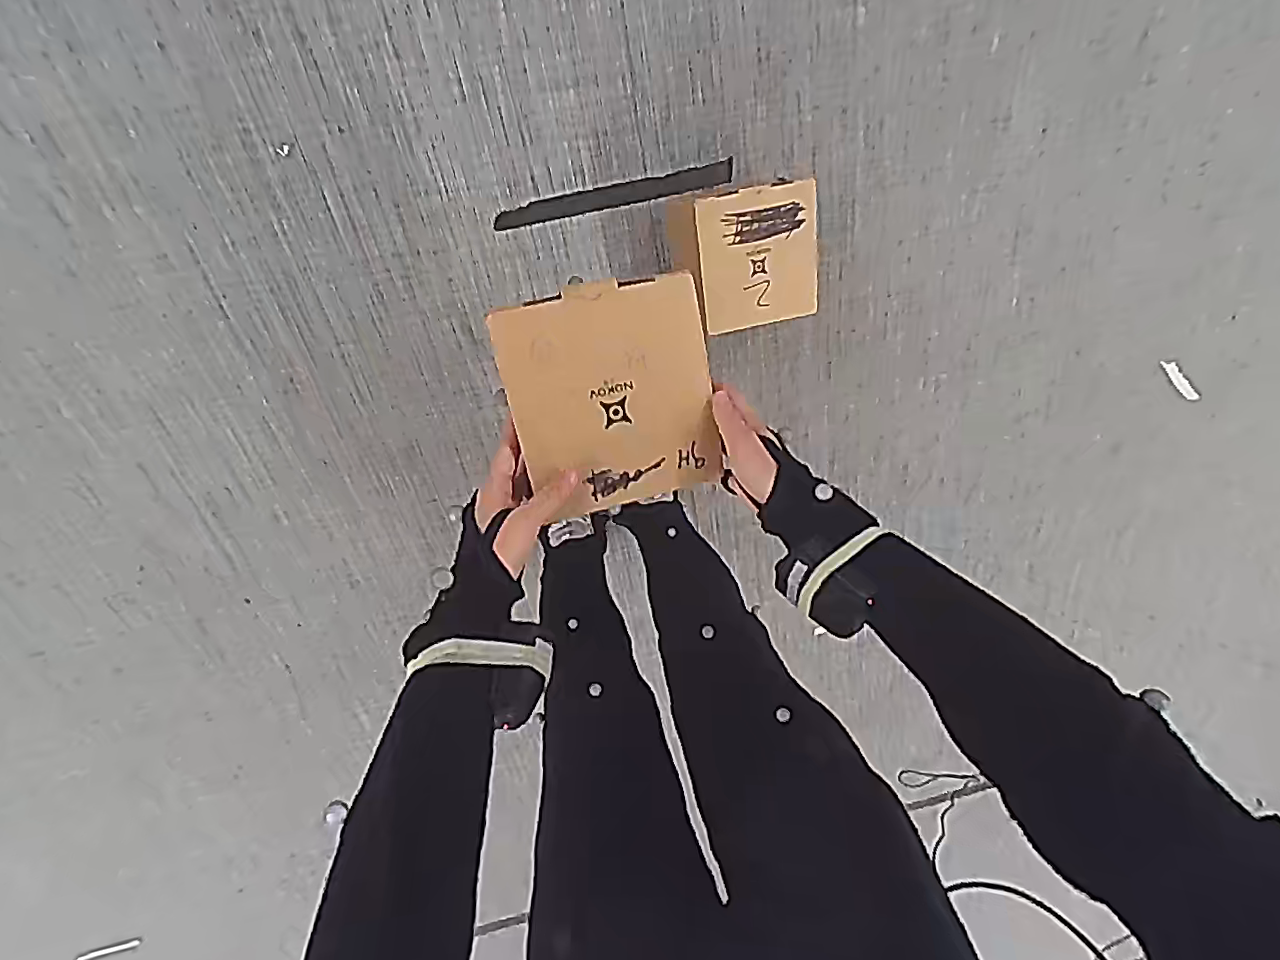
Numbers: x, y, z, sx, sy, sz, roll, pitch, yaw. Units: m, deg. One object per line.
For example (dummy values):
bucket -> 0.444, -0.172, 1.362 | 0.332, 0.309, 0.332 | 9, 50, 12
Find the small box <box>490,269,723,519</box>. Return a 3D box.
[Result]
small box -> -0.037, -0.085, 0.513 | 0.168, 0.176, 0.179 | -14, 106, -8
